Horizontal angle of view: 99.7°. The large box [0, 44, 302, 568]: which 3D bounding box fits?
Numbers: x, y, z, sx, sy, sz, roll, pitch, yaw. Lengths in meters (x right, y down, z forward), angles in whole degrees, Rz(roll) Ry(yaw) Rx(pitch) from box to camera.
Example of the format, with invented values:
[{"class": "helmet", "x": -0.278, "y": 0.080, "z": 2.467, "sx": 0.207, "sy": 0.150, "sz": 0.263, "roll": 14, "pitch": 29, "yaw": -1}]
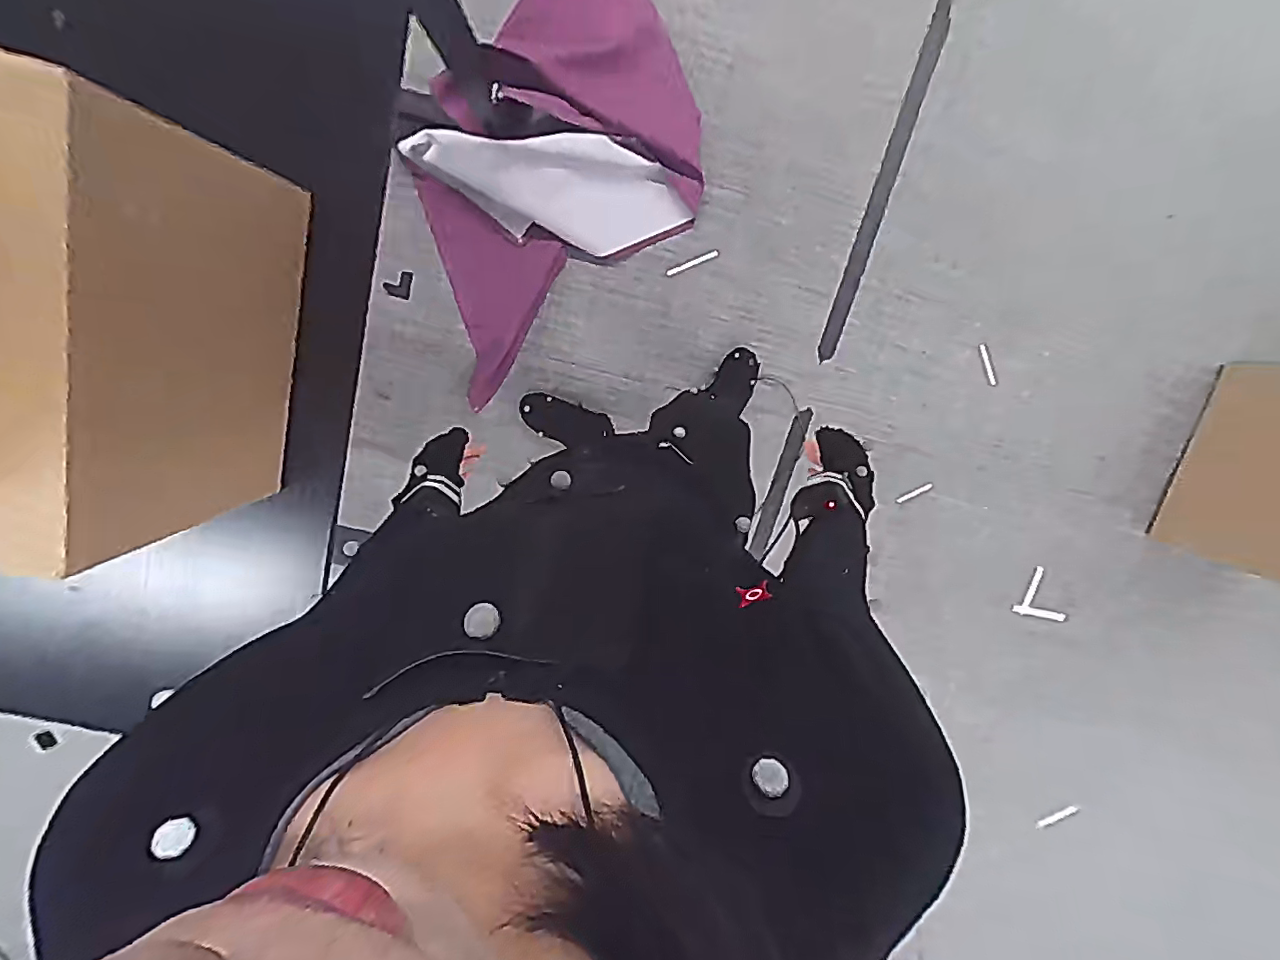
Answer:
[{"class": "large box", "x": -0.603, "y": -0.170, "z": 0.559, "sx": 0.320, "sy": 0.320, "sz": 0.408, "roll": 12, "pitch": 101, "yaw": -5}]
